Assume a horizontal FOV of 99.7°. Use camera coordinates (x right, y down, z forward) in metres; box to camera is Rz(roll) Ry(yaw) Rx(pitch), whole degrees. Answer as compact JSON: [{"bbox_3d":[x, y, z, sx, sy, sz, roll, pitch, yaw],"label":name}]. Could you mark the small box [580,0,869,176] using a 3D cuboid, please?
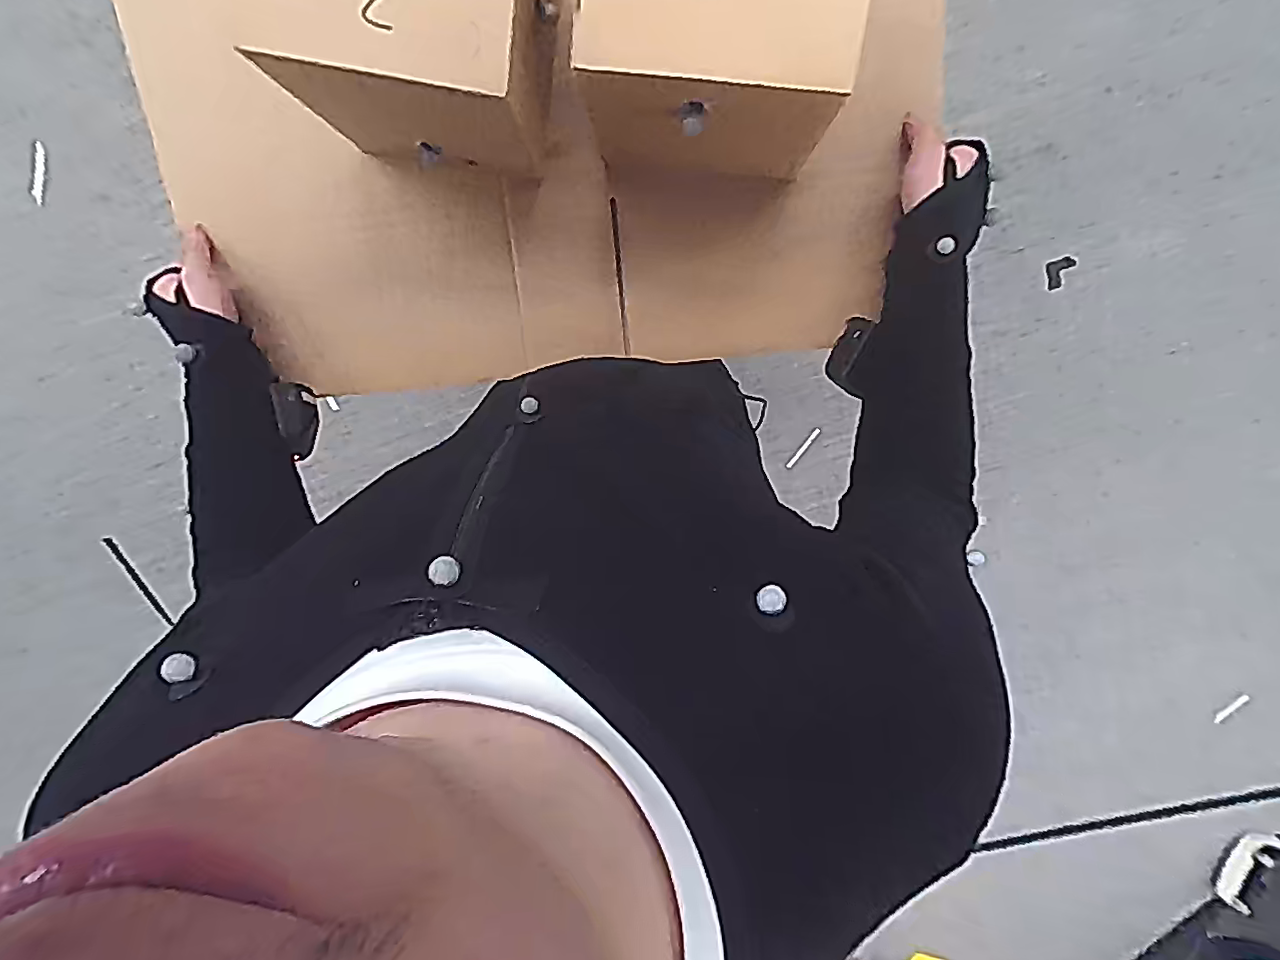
[{"bbox_3d":[0.062,-0.344,0.402,0.179,0.176,0.168,8,104,3],"label":"small box"}]
